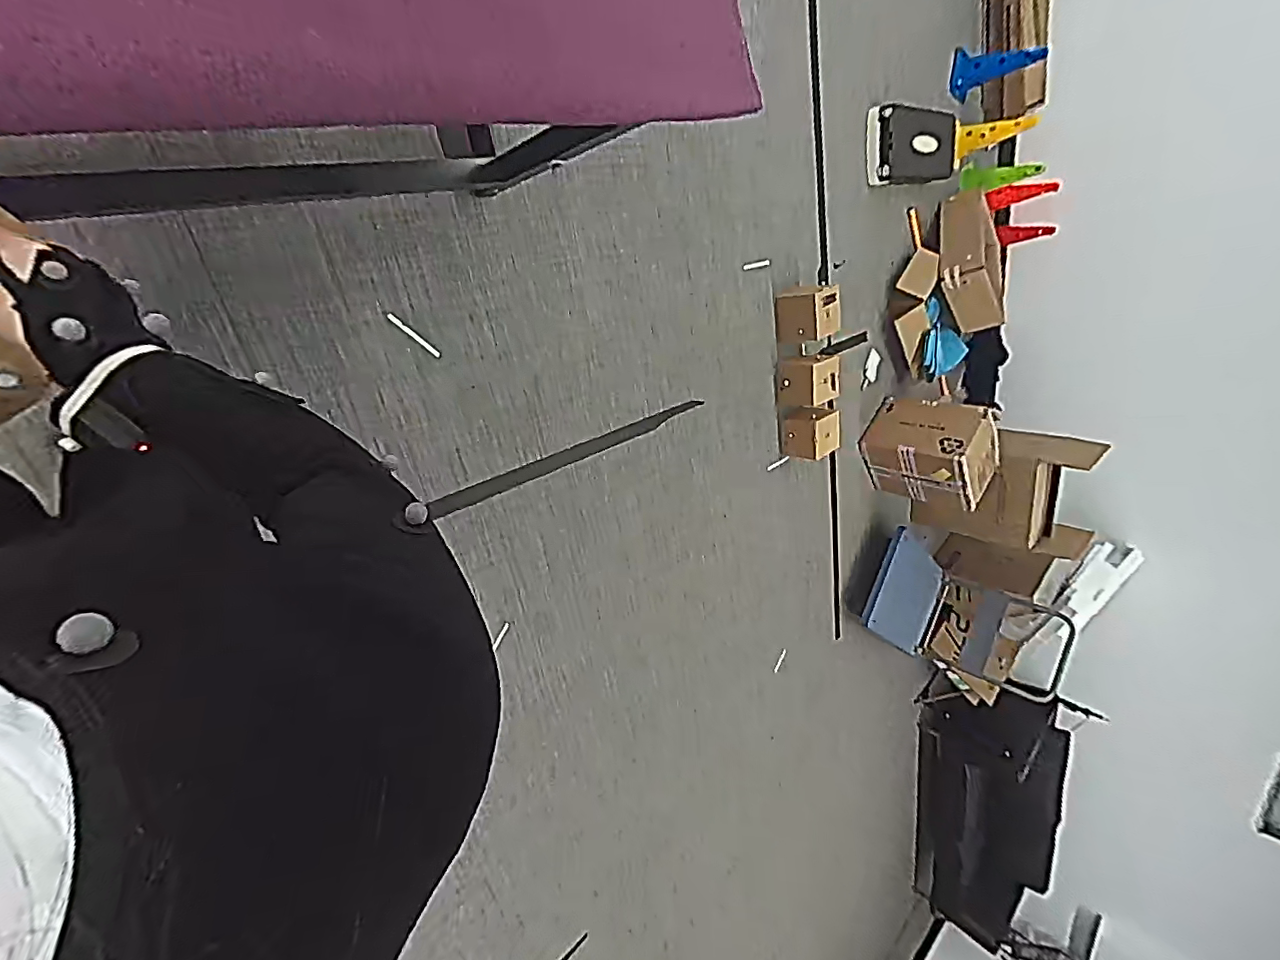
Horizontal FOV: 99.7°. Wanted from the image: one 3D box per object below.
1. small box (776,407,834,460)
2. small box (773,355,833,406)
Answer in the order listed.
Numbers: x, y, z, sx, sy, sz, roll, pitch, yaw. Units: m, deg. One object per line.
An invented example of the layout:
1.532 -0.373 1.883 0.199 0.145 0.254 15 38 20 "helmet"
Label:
0.689 -0.200 2.262 0.179 0.176 0.168 -26 118 -34 "small box"
0.652 -0.404 2.169 0.179 0.176 0.168 -23 116 -35 "small box"
